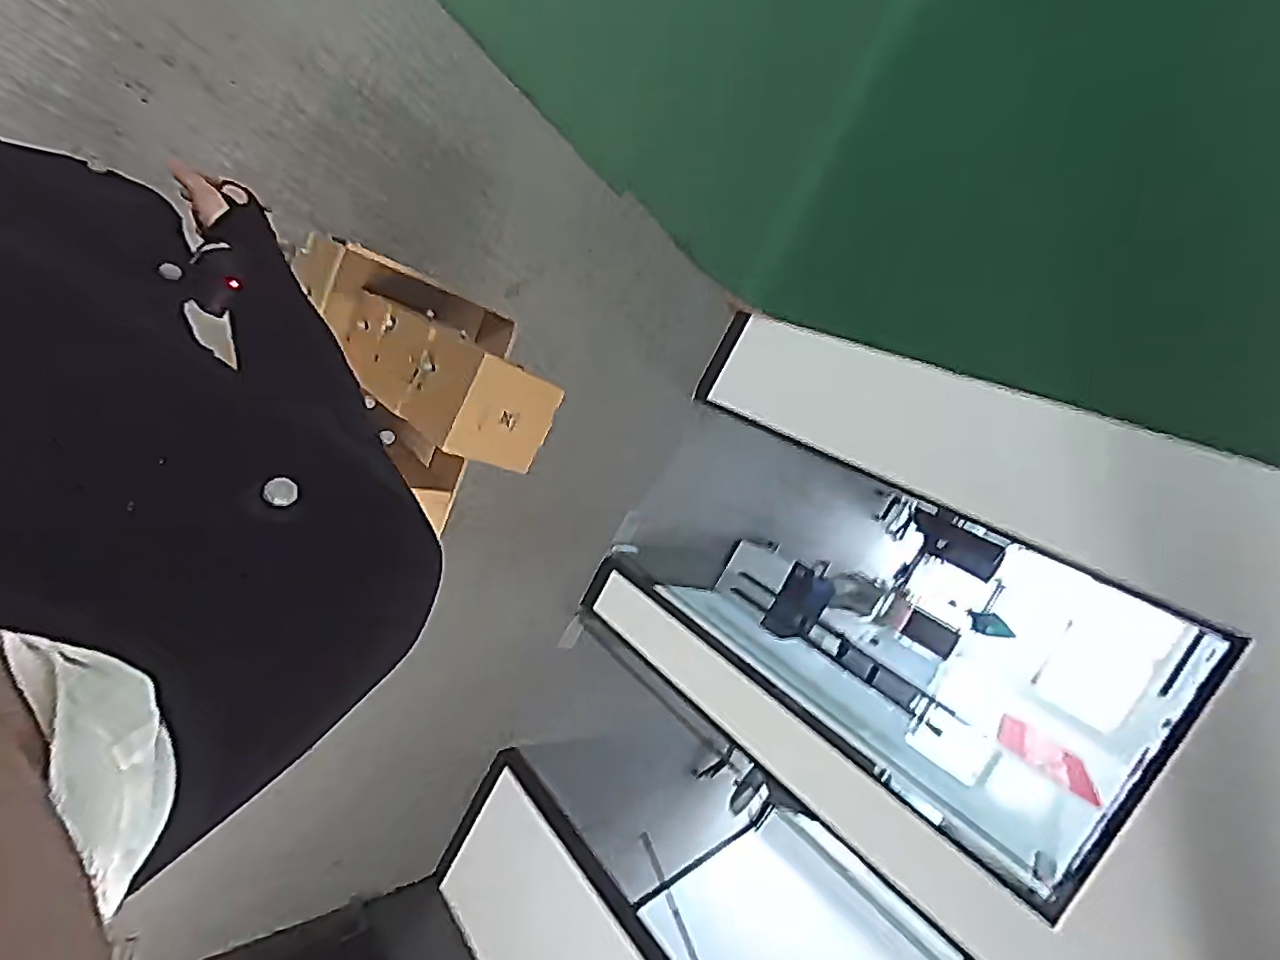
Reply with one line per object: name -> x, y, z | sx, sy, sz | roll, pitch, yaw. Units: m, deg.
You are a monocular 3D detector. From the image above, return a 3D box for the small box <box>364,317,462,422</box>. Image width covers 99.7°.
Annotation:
small box -> -0.386, -0.191, 1.022 | 0.179, 0.176, 0.168 | 18, 101, -54

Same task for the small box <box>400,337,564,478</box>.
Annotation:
small box -> -0.271, -0.125, 0.928 | 0.179, 0.176, 0.168 | 21, 98, -53

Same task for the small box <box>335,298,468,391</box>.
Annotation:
small box -> -0.498, -0.261, 1.119 | 0.179, 0.176, 0.168 | 11, 105, -53
